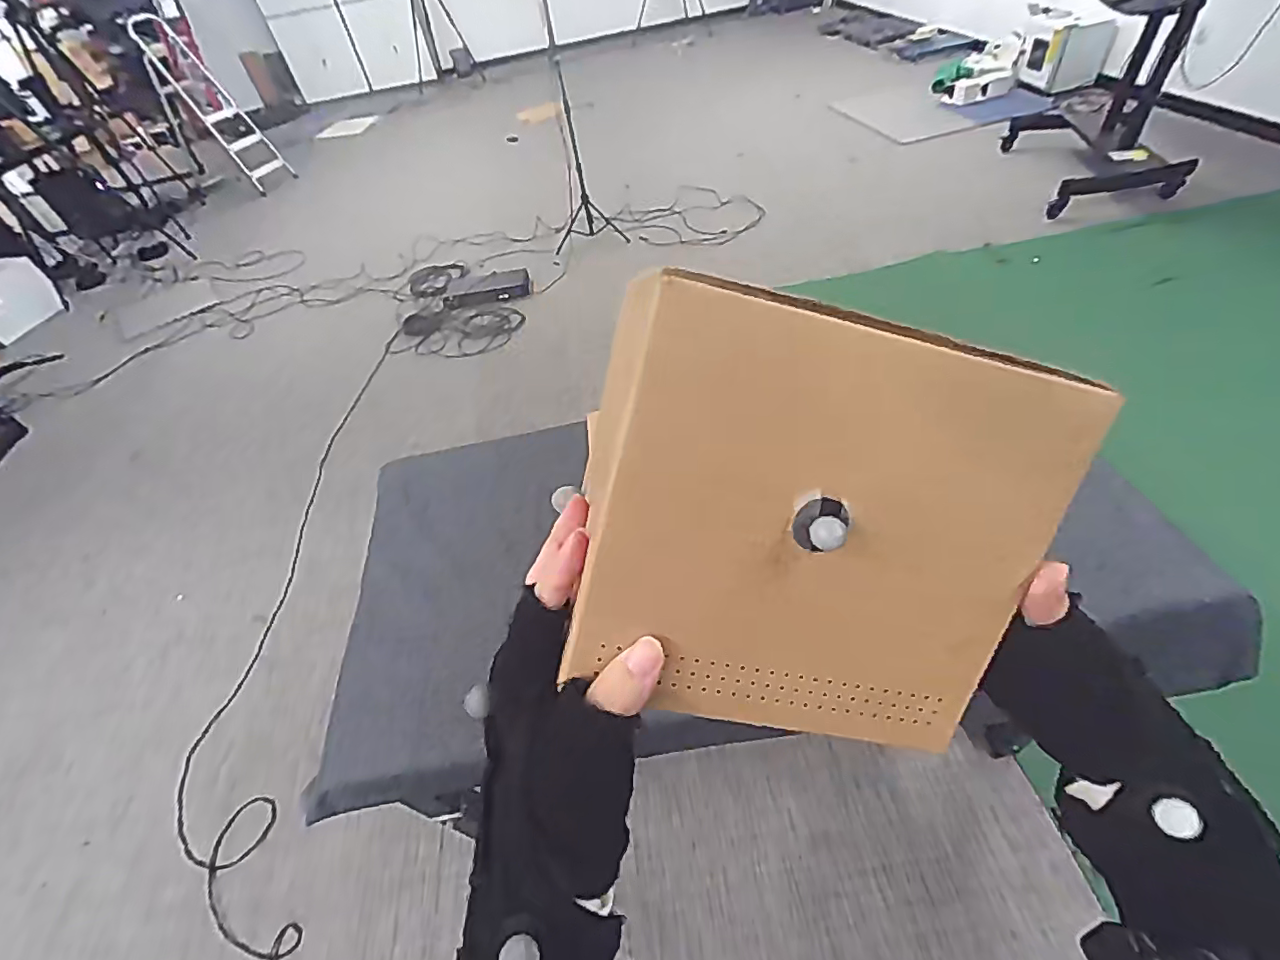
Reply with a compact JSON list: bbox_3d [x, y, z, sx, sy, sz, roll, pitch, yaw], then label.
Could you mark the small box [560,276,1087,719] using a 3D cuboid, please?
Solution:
[{"bbox_3d":[0.064,0.000,0.291,0.179,0.176,0.168,11,17,-8],"label":"small box"}]
